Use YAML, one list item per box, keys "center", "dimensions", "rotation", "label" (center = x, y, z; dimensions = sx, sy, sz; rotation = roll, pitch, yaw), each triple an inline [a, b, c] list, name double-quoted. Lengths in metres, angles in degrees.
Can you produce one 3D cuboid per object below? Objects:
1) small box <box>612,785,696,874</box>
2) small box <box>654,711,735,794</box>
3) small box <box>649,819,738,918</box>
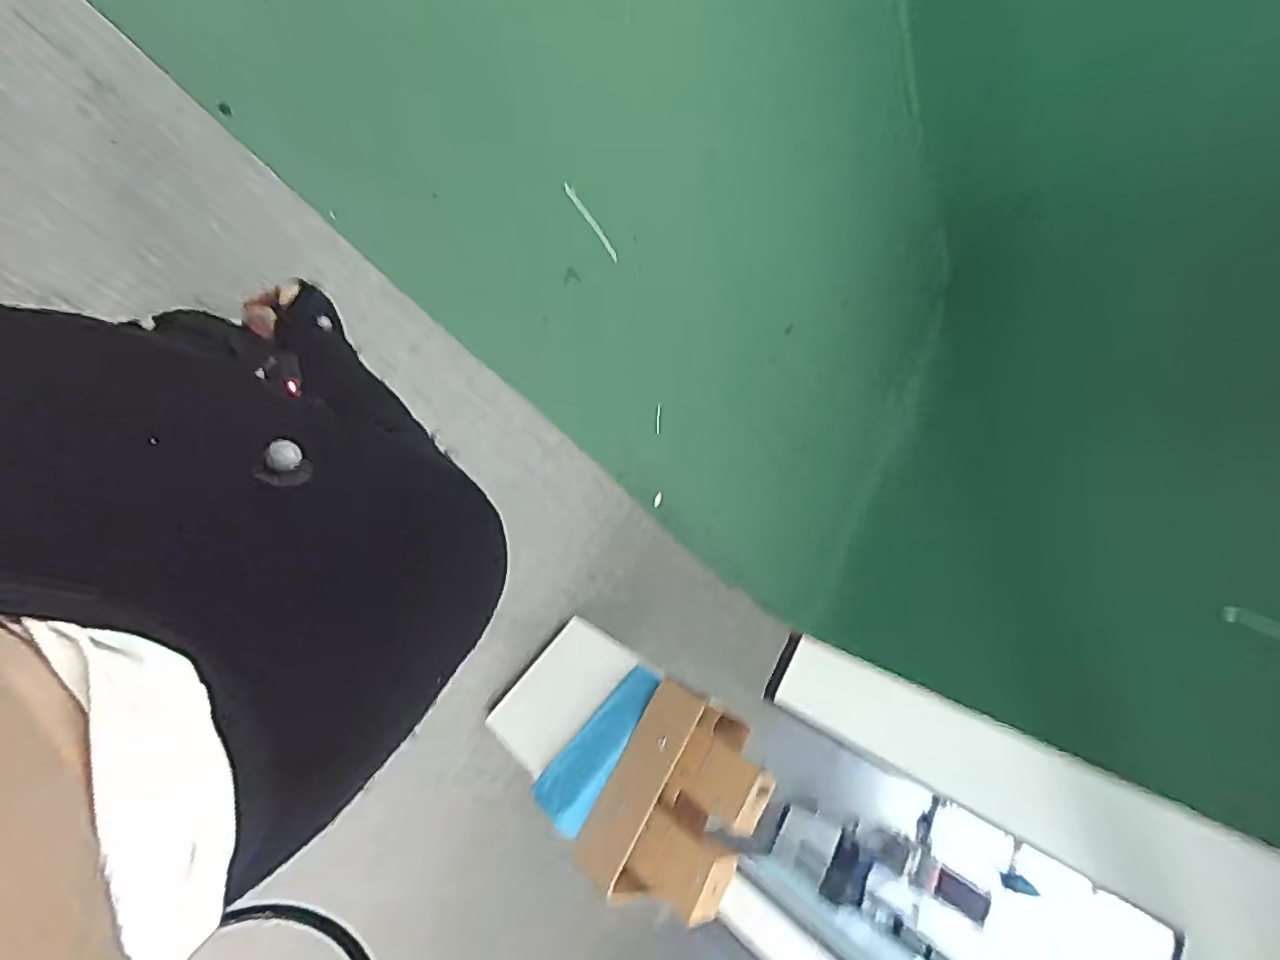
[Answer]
- center: [0.041, 1.098, 1.708]
  dimensions: [0.168, 0.176, 0.179]
  rotation: [41, 73, -45]
  label: "small box"
- center: [0.177, 0.889, 1.773]
  dimensions: [0.179, 0.176, 0.168]
  rotation: [-57, 135, -11]
  label: "small box"
- center: [0.156, 1.135, 1.597]
  dimensions: [0.168, 0.176, 0.179]
  rotation: [39, 75, -45]
  label: "small box"
